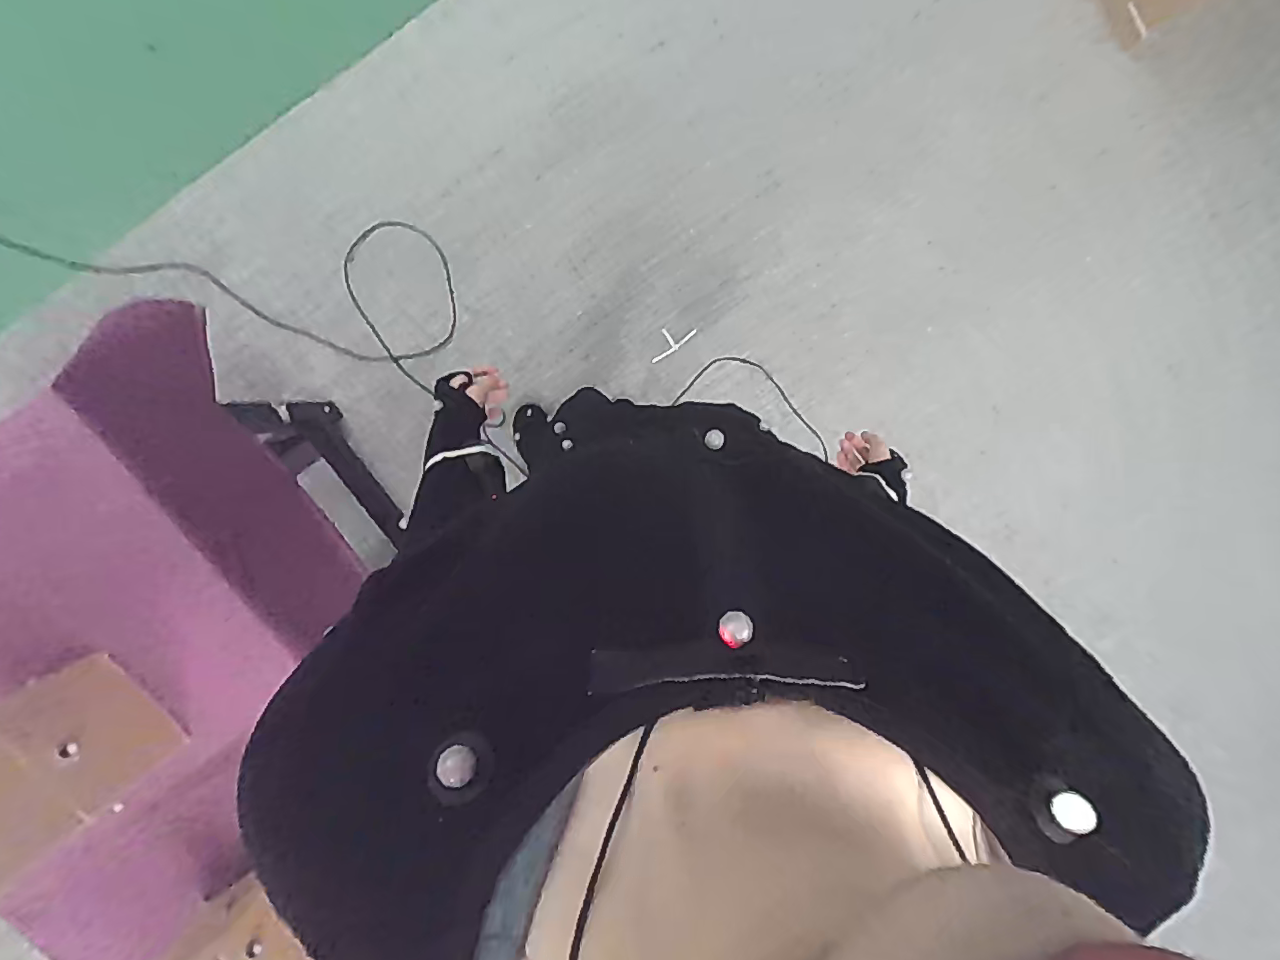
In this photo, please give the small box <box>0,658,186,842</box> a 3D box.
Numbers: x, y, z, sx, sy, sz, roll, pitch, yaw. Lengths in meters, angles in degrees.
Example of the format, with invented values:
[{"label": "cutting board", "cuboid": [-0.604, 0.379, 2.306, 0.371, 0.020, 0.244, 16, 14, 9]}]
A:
[{"label": "small box", "cuboid": [-0.753, 0.367, 0.691, 0.168, 0.176, 0.179, -35, 98, 1]}]
